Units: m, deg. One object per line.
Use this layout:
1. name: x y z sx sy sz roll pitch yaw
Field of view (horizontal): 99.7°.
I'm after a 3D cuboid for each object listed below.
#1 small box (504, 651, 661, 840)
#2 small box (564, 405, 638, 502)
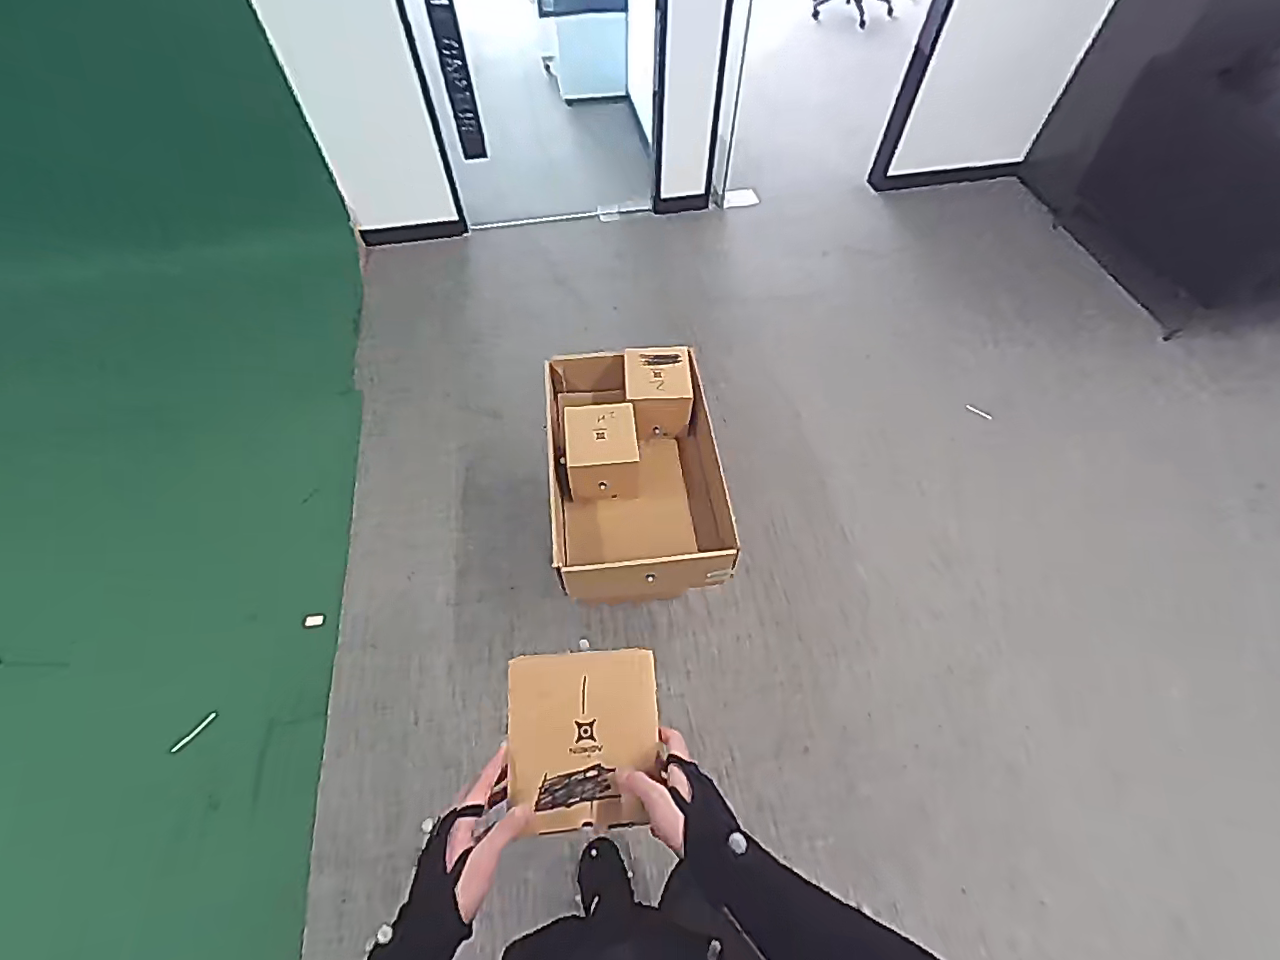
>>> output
1. small box: -0.070 0.303 0.656 0.168 0.176 0.179 0 73 -9
2. small box: -0.093 -0.058 1.311 0.168 0.176 0.179 -4 58 -4
